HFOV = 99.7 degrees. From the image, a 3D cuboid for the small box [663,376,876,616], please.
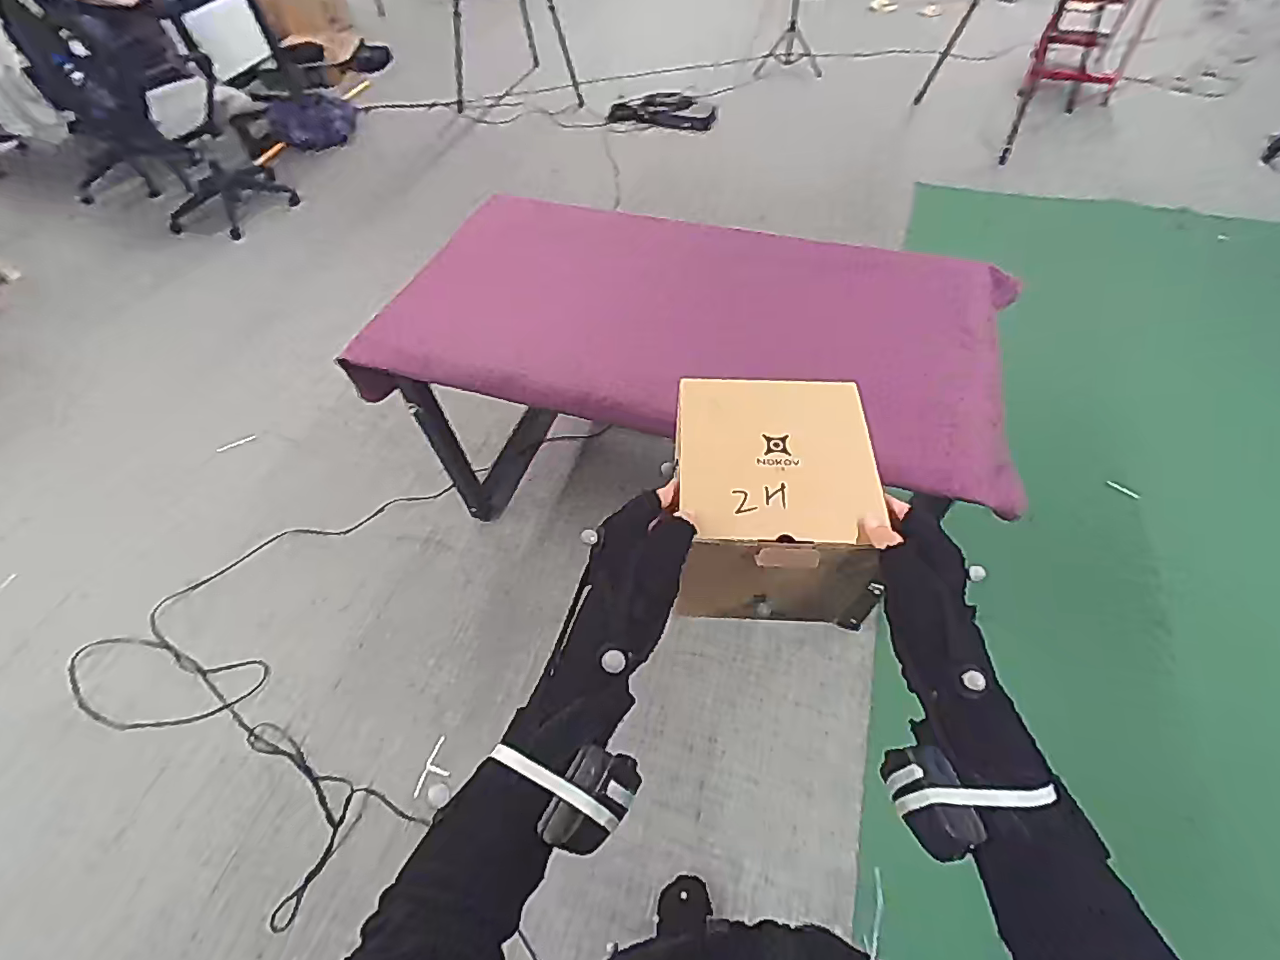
[{"bbox_3d":[0.109,0.019,0.536,0.168,0.176,0.179,1,56,3],"label":"small box"}]
